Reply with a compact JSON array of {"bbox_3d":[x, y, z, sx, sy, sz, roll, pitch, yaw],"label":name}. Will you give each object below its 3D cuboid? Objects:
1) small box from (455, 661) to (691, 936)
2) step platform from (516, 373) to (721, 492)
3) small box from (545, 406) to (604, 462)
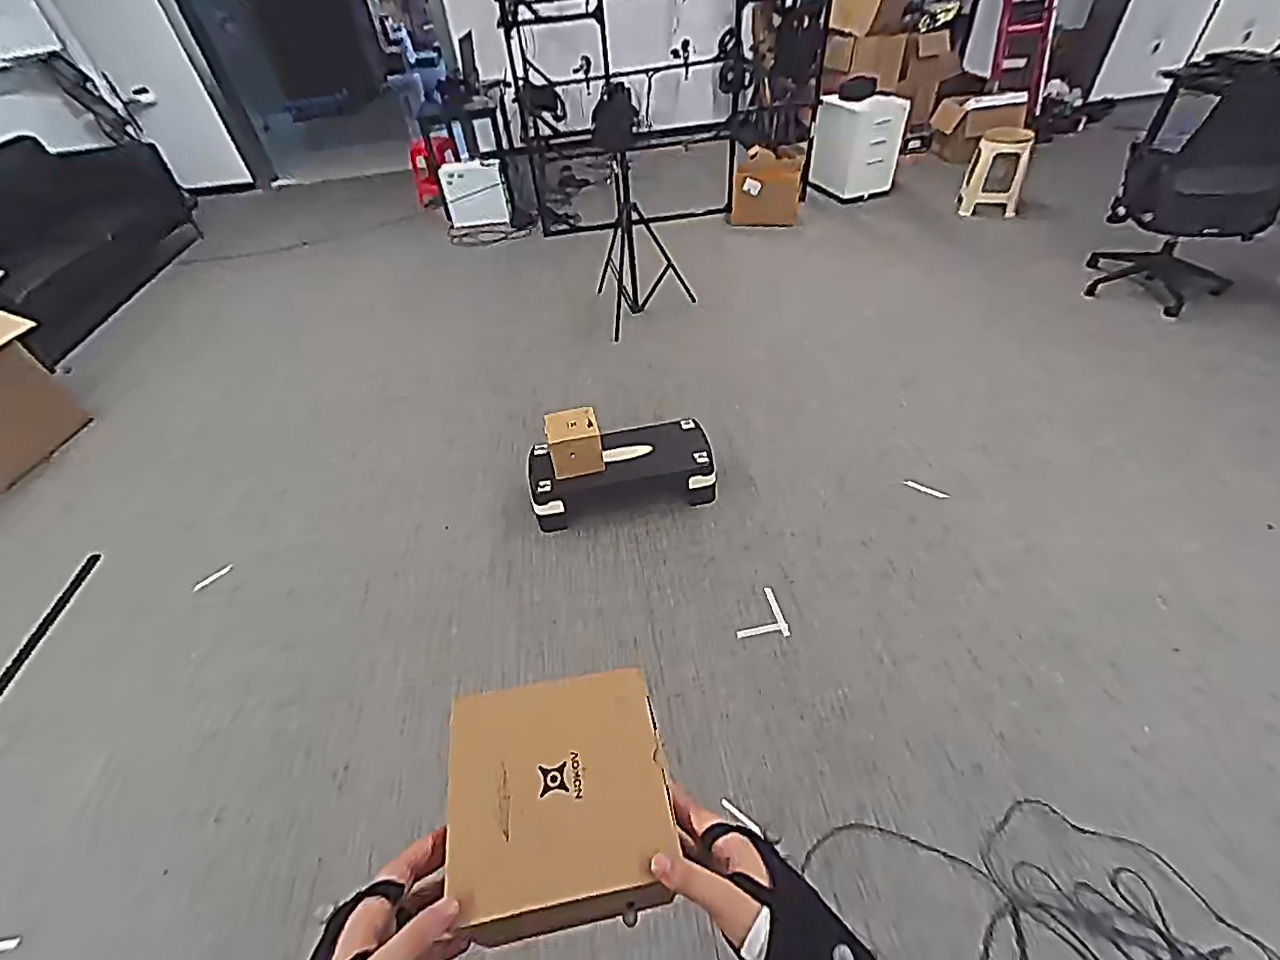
[{"bbox_3d":[-0.063,0.296,0.504,0.179,0.176,0.168,-8,46,-9],"label":"small box"},{"bbox_3d":[-0.069,-0.164,1.873,0.684,0.204,0.286,-10,44,-5],"label":"step platform"},{"bbox_3d":[-0.229,-0.134,1.911,0.179,0.176,0.168,-13,45,-6],"label":"small box"}]
